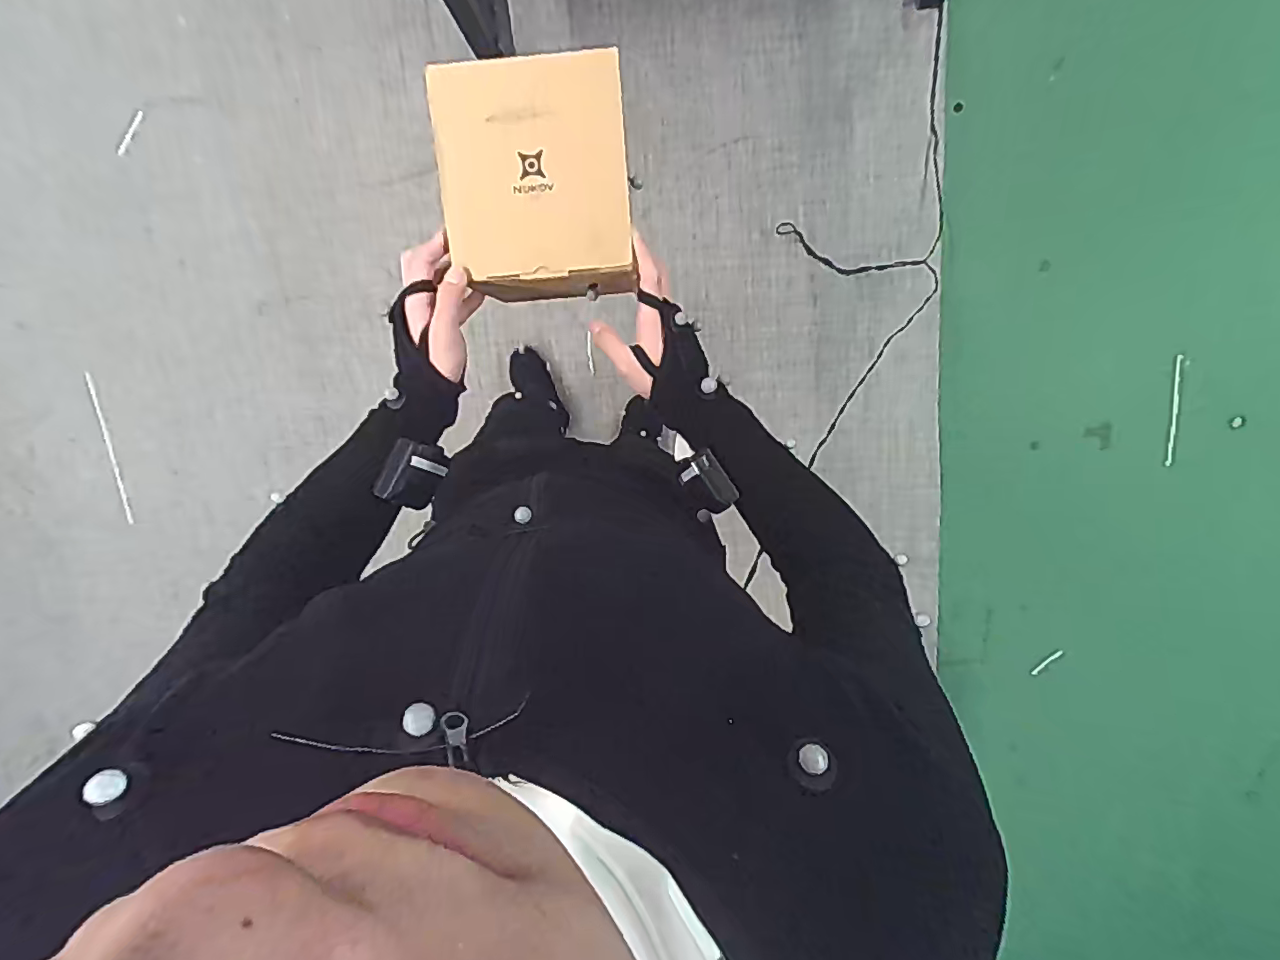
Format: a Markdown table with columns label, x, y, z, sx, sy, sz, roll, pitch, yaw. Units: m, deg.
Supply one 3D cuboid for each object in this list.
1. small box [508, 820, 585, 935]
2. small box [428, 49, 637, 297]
| label | x | y | z | sx | sy | sz | roll | pitch | yaw |
| --- | --- | --- | --- | --- | --- | --- | --- | --- | --- |
| small box | -0.241 | 1.037 | 1.425 | 0.168 | 0.176 | 0.179 | 6 | 99 | 1 |
| small box | -0.091 | -0.285 | 0.546 | 0.168 | 0.176 | 0.179 | -4 | 101 | 1 |
